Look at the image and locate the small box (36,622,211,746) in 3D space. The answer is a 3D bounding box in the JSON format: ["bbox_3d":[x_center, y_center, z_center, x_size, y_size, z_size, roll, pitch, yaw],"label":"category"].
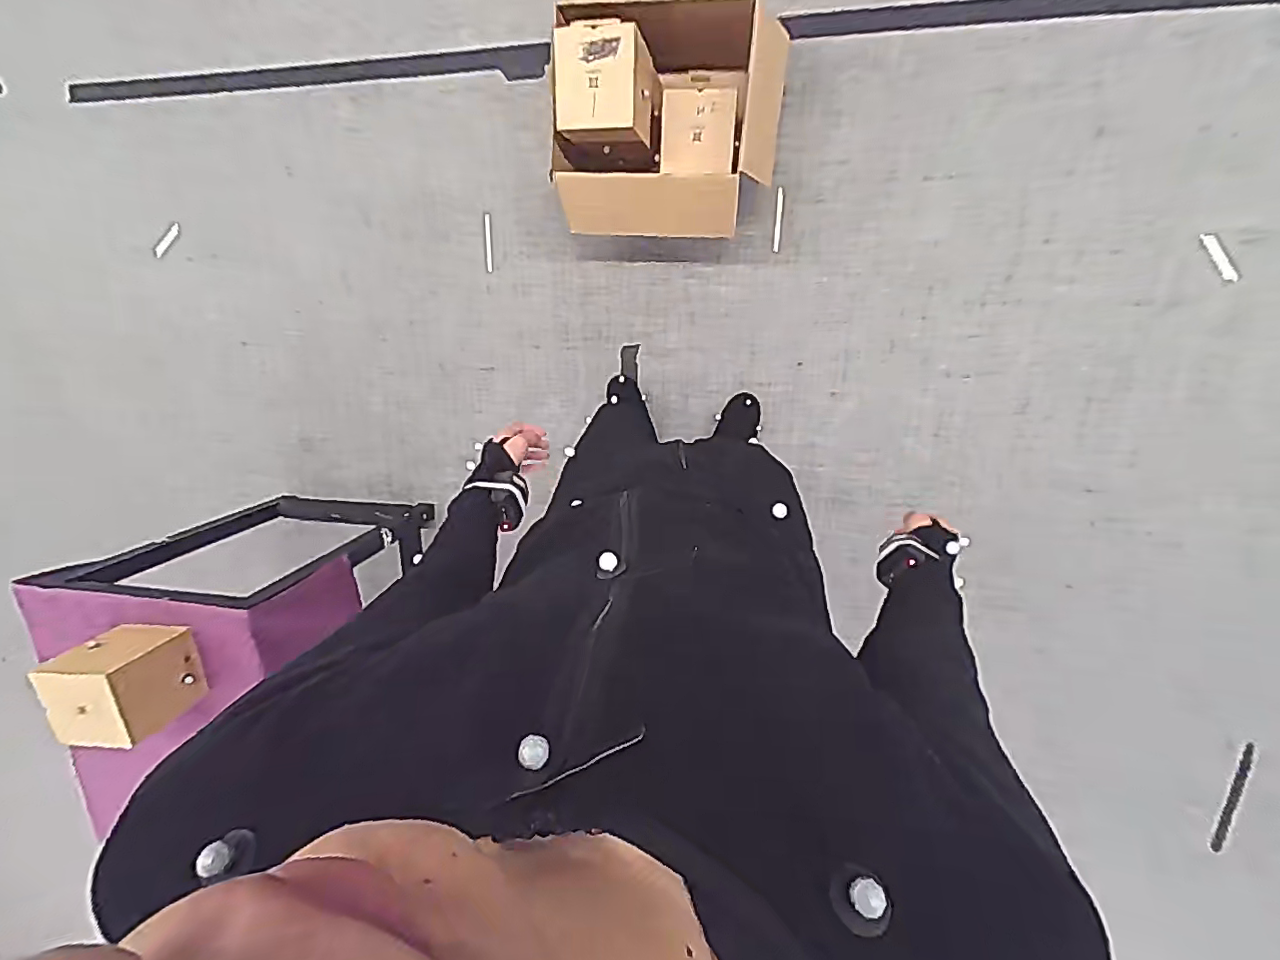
[{"bbox_3d":[-1.033,0.403,1.095,0.179,0.176,0.168,0,107,11],"label":"small box"}]
